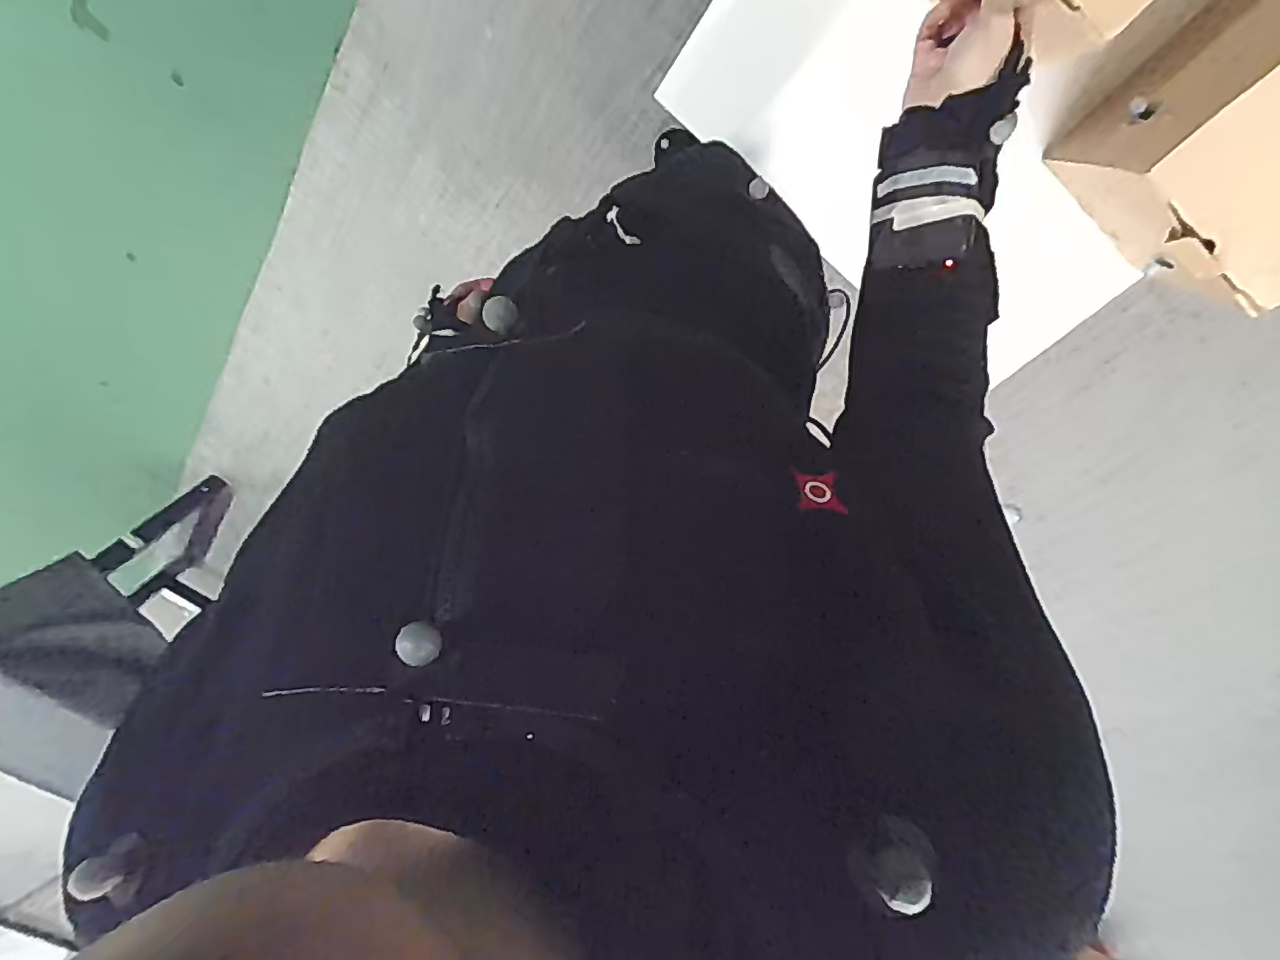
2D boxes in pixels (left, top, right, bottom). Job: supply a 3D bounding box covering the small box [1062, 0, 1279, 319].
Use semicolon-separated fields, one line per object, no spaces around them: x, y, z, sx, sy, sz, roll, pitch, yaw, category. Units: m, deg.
0.489;-0.268;0.432;0.168;0.176;0.179;35;122;-15;small box
